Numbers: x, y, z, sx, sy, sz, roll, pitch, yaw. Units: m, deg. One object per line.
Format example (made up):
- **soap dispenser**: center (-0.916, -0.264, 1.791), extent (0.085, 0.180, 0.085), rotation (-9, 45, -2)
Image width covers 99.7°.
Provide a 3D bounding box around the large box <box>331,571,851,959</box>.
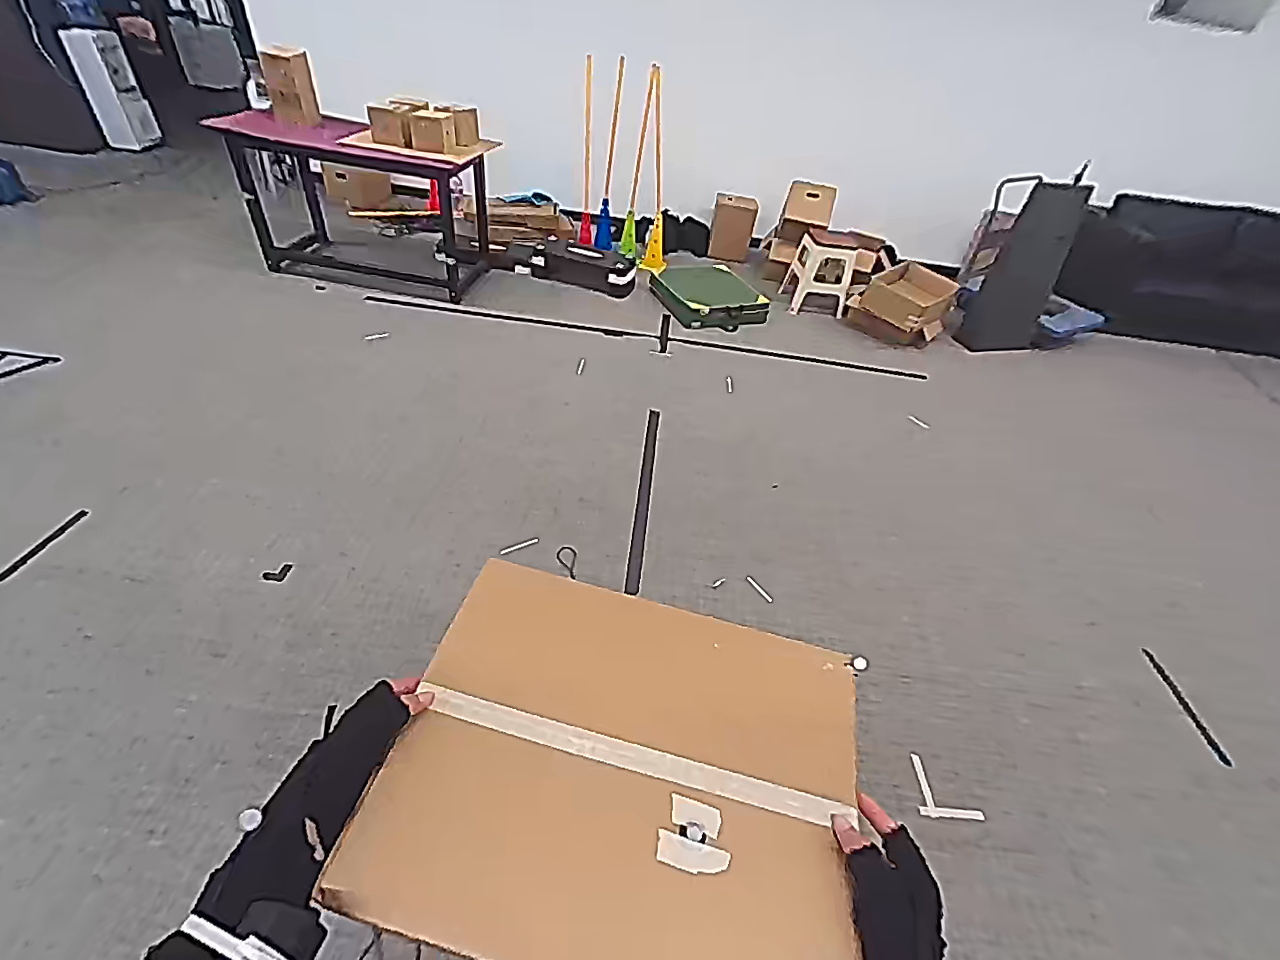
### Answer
- **large box**: center (-0.028, 0.353, 0.599), extent (0.408, 0.320, 0.320), rotation (15, 48, 4)
